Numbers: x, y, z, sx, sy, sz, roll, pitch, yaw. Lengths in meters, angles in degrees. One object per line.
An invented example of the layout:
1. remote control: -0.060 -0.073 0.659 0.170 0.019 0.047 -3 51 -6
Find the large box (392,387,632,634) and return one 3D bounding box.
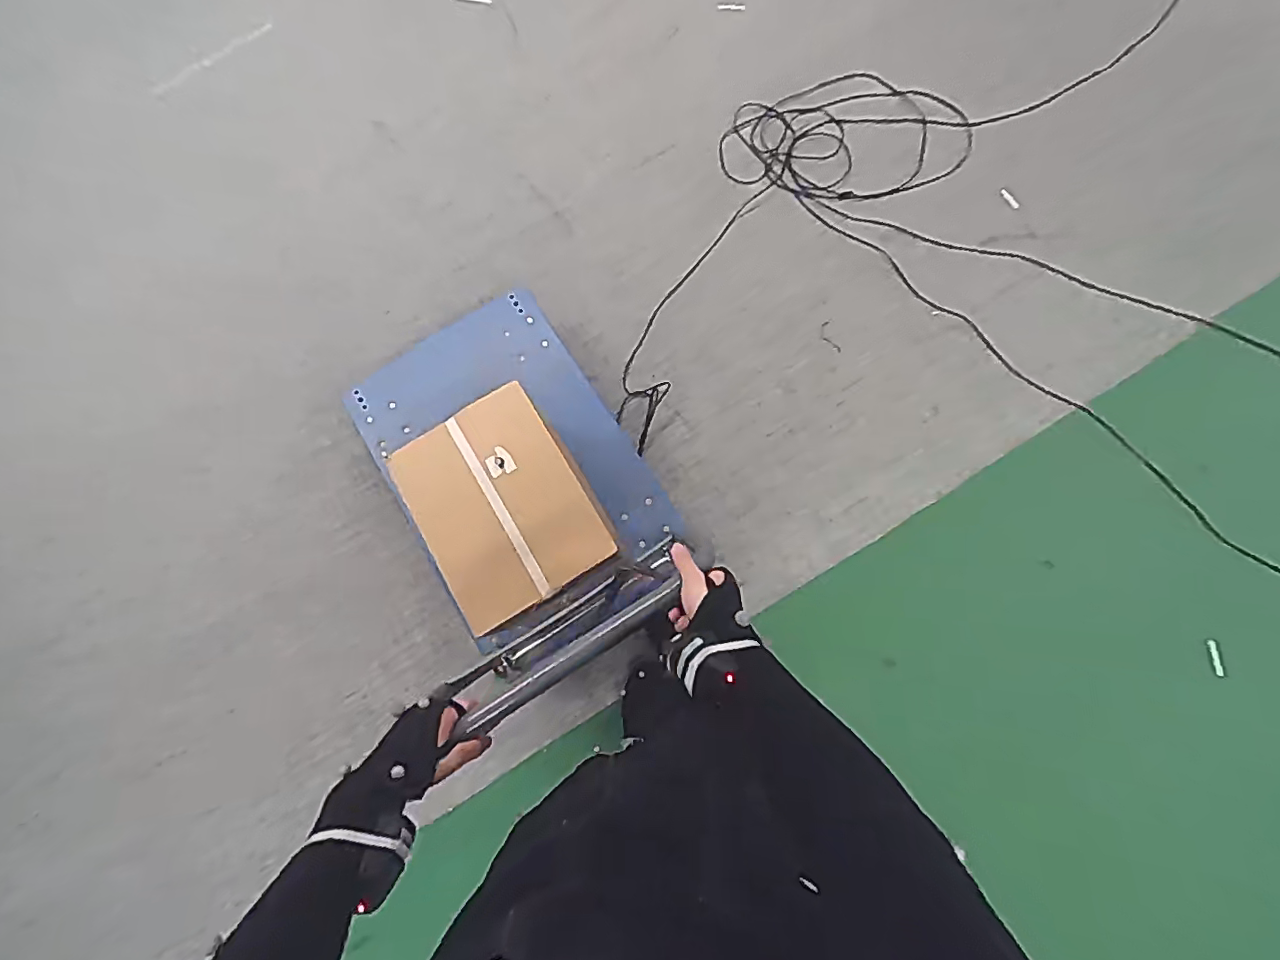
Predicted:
1. large box: -0.257 0.078 1.202 0.320 0.320 0.408 -31 79 -3
